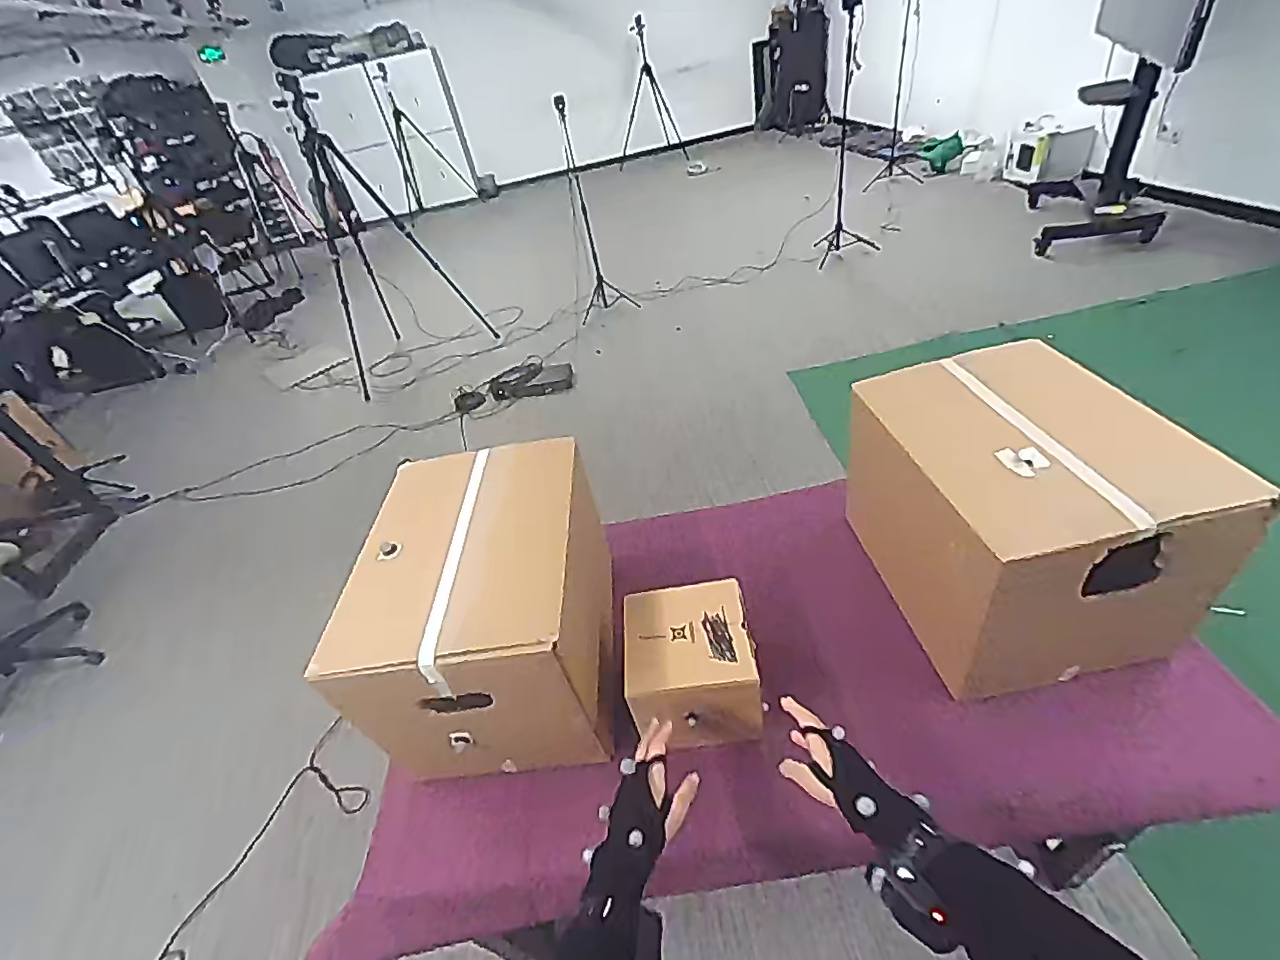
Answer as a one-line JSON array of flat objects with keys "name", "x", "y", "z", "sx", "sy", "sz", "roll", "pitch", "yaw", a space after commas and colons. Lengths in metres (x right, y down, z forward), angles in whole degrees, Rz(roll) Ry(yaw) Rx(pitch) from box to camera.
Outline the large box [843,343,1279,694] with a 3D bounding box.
[{"name": "large box", "x": 0.547, "y": 0.044, "z": 0.828, "sx": 0.320, "sy": 0.320, "sz": 0.408, "roll": -14, "pitch": 40, "yaw": 3}]
